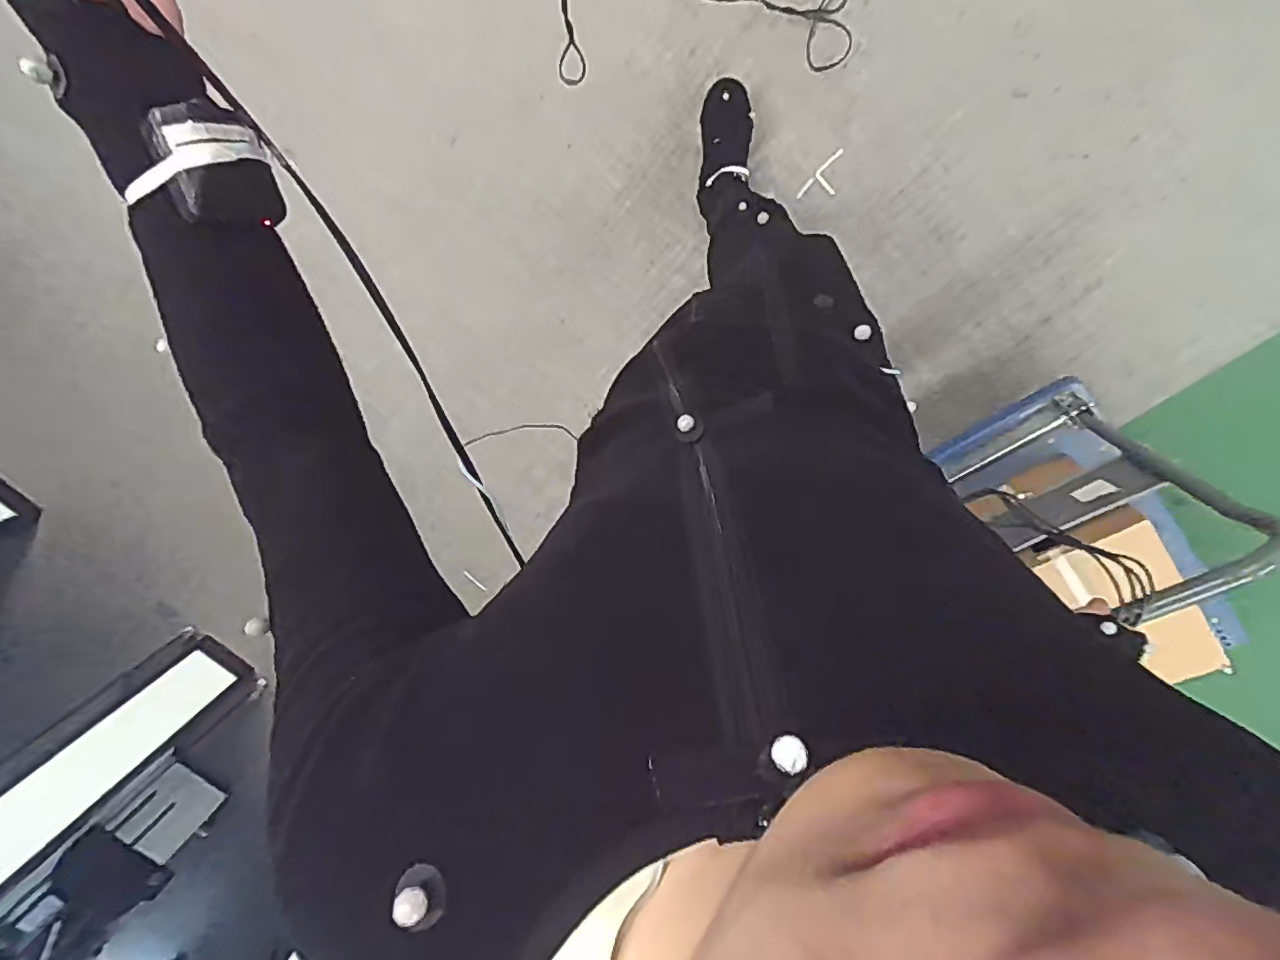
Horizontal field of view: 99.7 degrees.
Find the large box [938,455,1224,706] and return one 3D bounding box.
[{"bbox_3d":[0.965,0.221,1.236,0.320,0.320,0.408,-33,105,25],"label":"large box"}]
